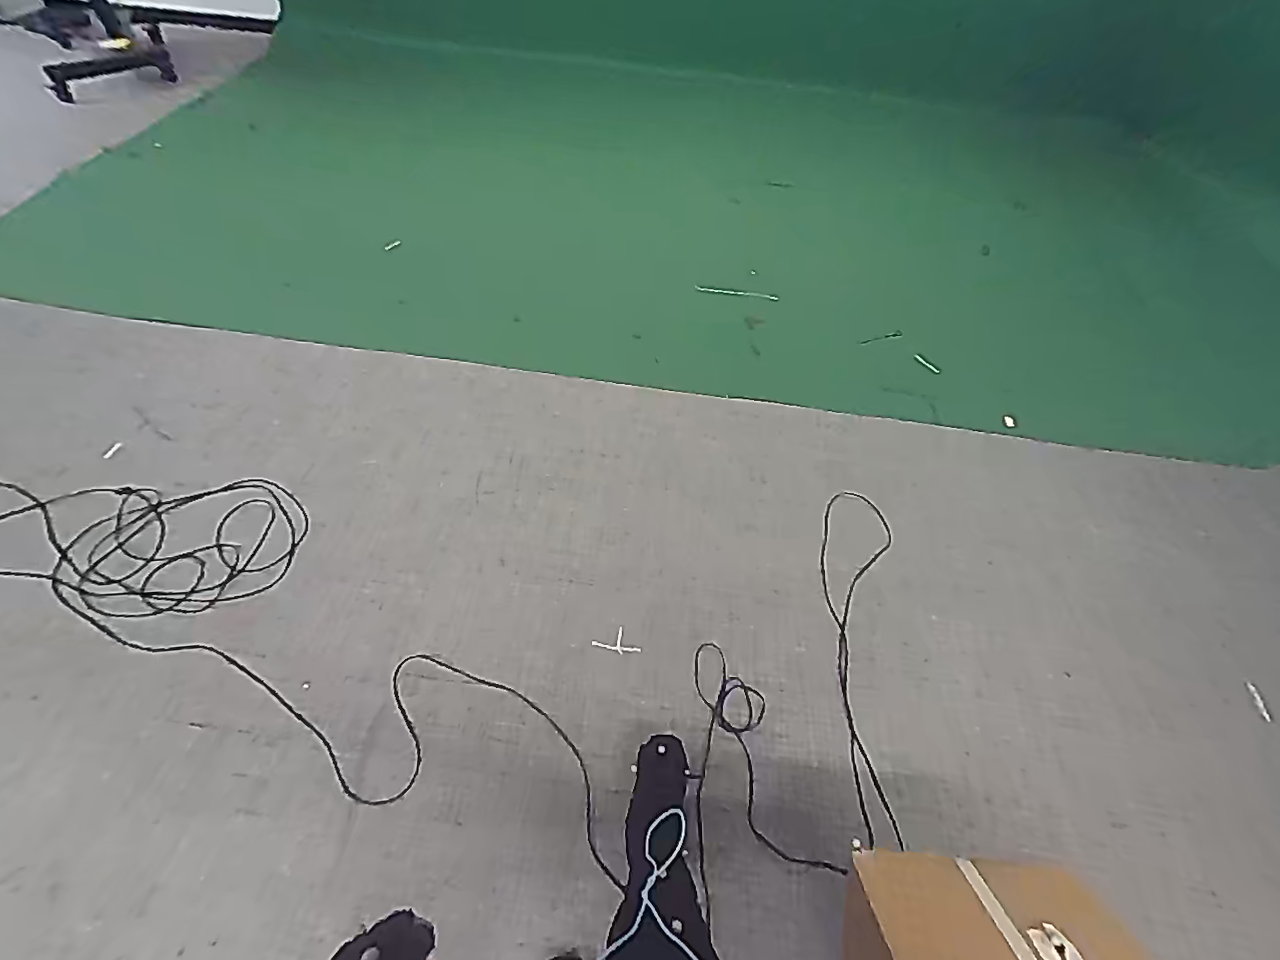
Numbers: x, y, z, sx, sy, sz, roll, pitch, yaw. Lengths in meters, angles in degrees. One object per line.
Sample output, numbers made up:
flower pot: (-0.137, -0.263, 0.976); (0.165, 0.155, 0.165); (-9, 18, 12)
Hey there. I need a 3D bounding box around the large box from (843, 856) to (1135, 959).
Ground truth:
large box: (0.444, 0.732, 0.612); (0.320, 0.408, 0.320); (4, 94, 4)
